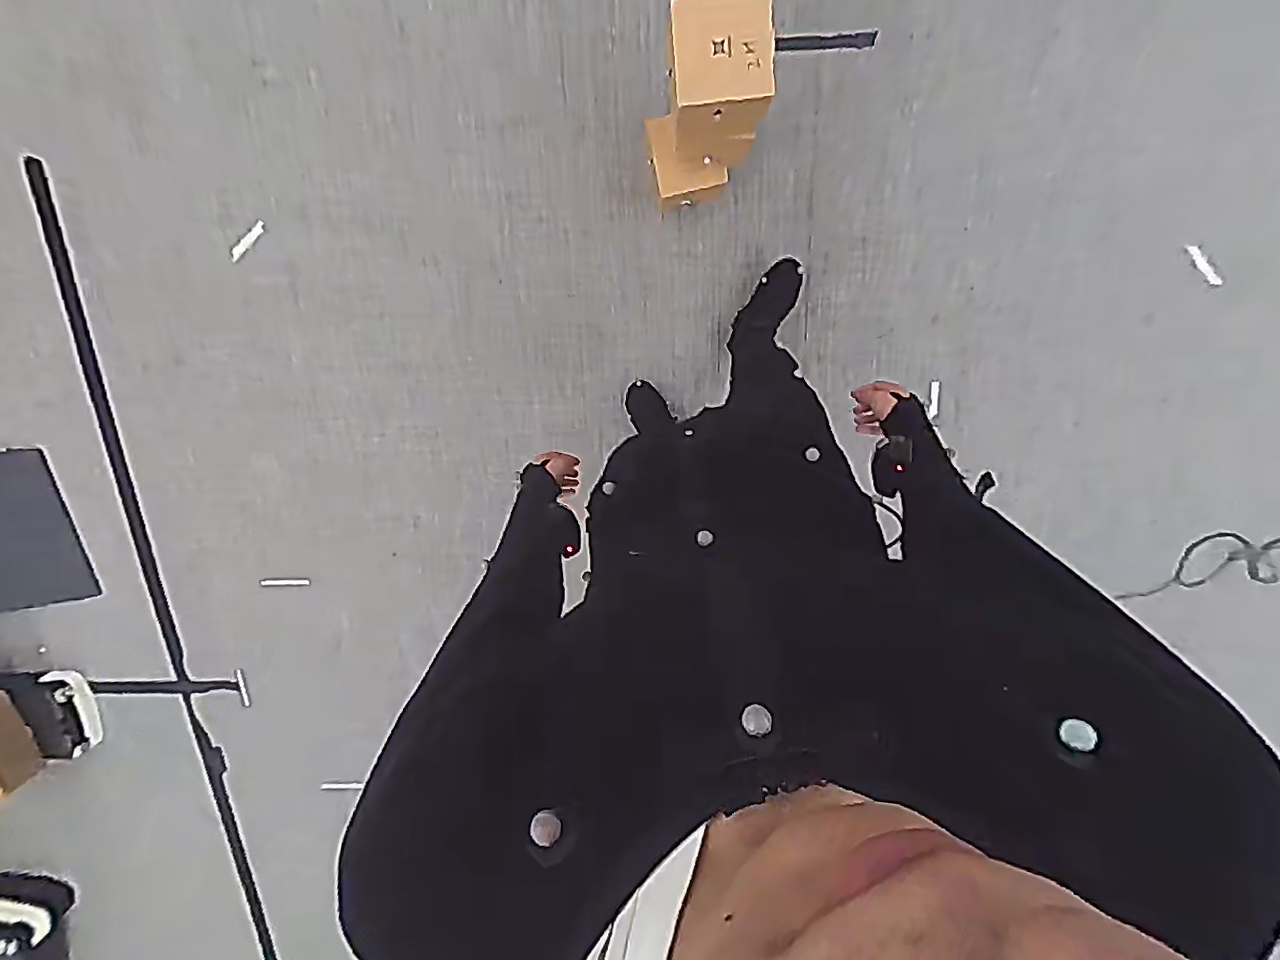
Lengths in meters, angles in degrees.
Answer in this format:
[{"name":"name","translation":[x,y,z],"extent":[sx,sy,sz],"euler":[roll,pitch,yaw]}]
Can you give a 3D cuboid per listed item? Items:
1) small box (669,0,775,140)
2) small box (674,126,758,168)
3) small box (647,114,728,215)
[{"name":"small box","translation":[0.145,-0.755,1.003],"extent":[0.179,0.176,0.168],"euler":[-5,104,2]},{"name":"small box","translation":[0.162,-0.798,1.162],"extent":[0.168,0.176,0.179],"euler":[3,105,1]},{"name":"small box","translation":[0.112,-0.781,1.335],"extent":[0.168,0.176,0.179],"euler":[-12,105,4]}]
